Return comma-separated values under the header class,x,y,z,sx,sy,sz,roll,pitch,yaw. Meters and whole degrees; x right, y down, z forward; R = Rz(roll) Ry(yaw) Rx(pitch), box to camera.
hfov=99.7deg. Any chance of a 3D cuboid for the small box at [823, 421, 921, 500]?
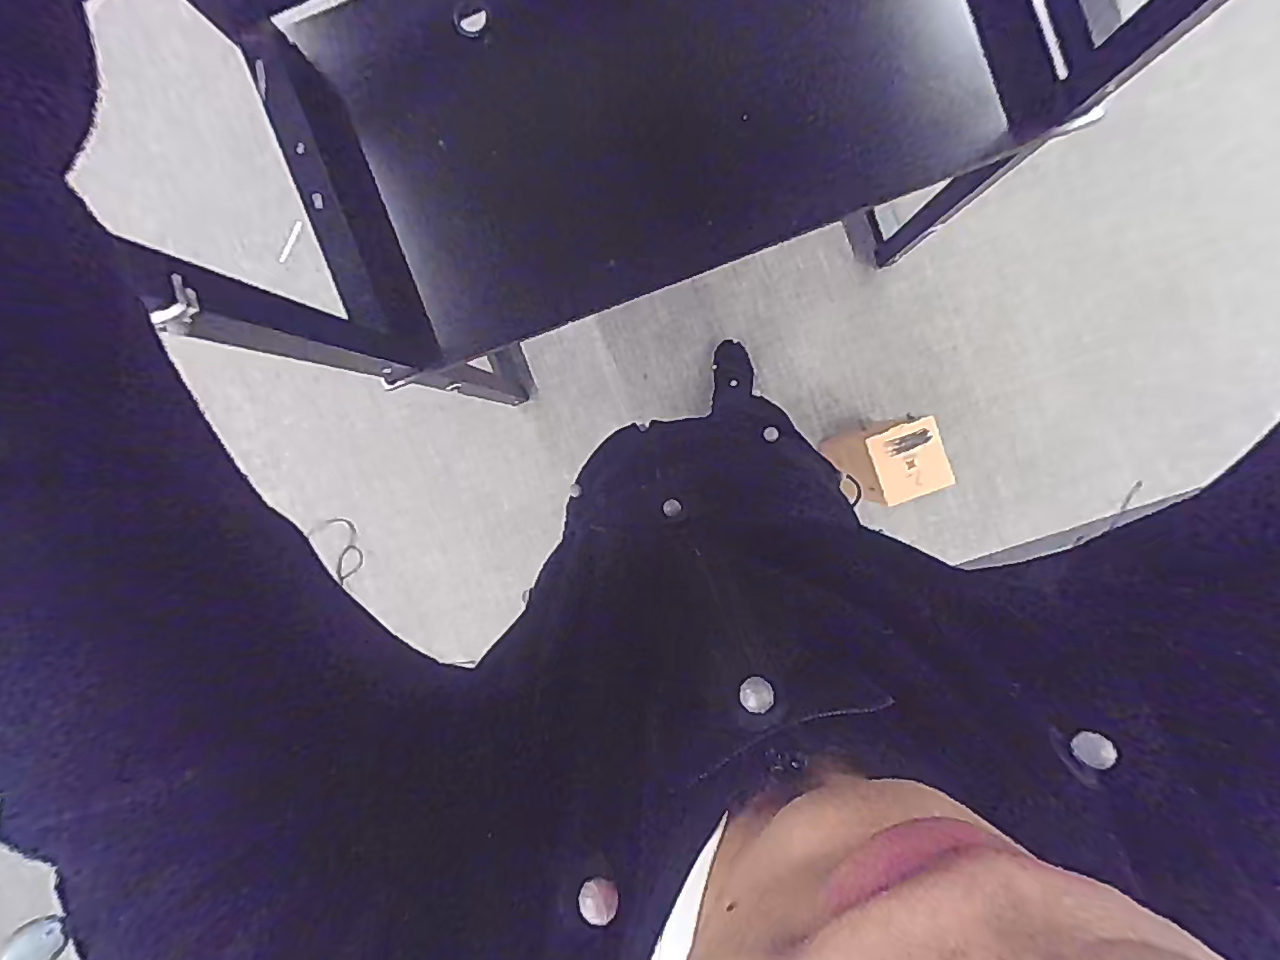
class,x,y,z,sx,sy,sz,roll,pitch,yaw
small box,0.636,-0.059,1.503,0.179,0.176,0.168,-22,92,5
